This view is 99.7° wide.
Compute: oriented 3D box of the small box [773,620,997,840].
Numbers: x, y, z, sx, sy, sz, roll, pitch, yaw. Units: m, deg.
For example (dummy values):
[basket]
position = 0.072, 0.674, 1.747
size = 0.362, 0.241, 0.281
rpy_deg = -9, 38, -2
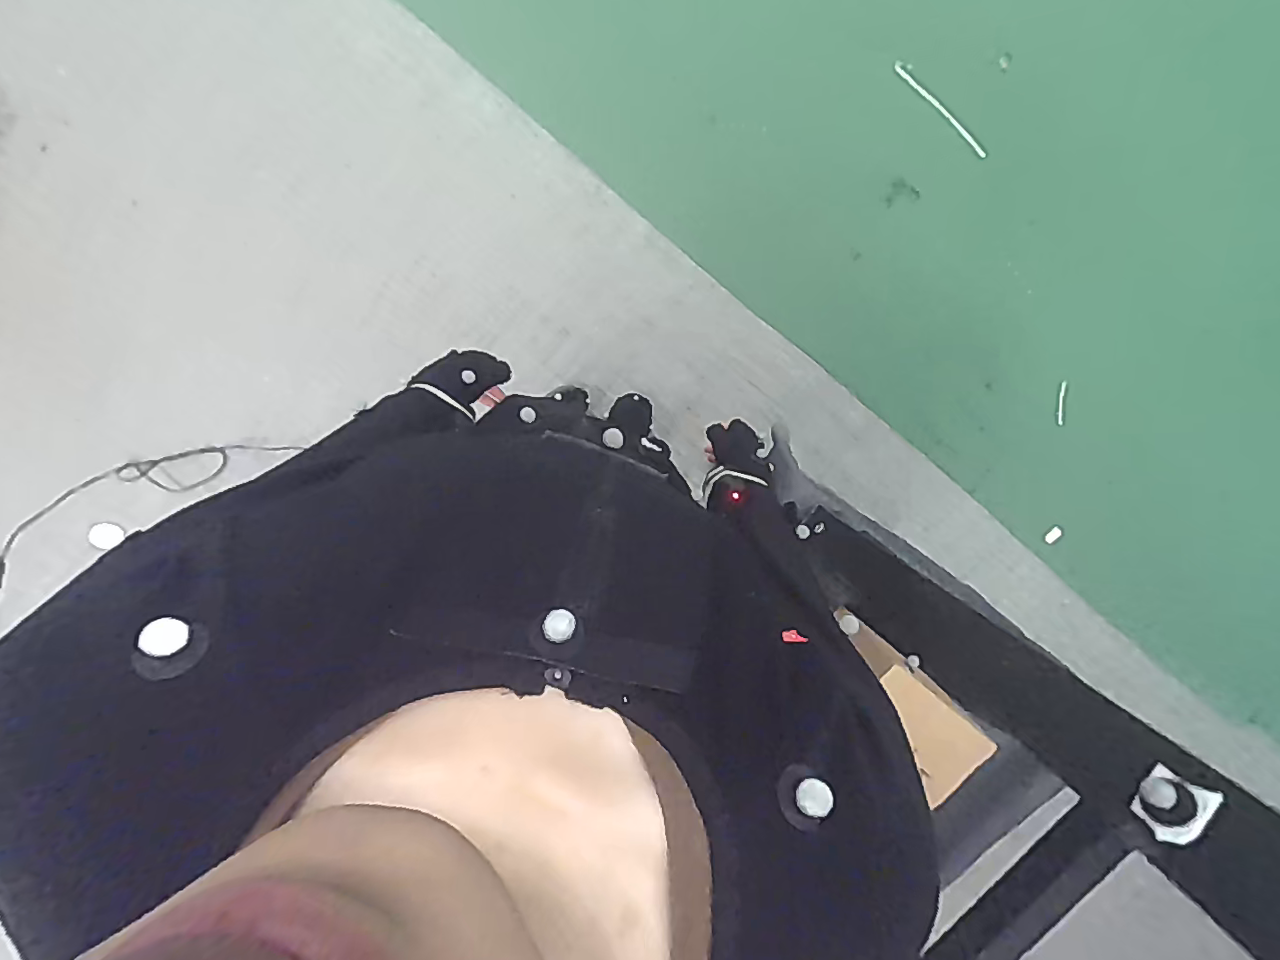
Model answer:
[small box]
position = 0.305, 0.312, 0.716
size = 0.179, 0.176, 0.168
rpy_deg = 40, 99, -8
